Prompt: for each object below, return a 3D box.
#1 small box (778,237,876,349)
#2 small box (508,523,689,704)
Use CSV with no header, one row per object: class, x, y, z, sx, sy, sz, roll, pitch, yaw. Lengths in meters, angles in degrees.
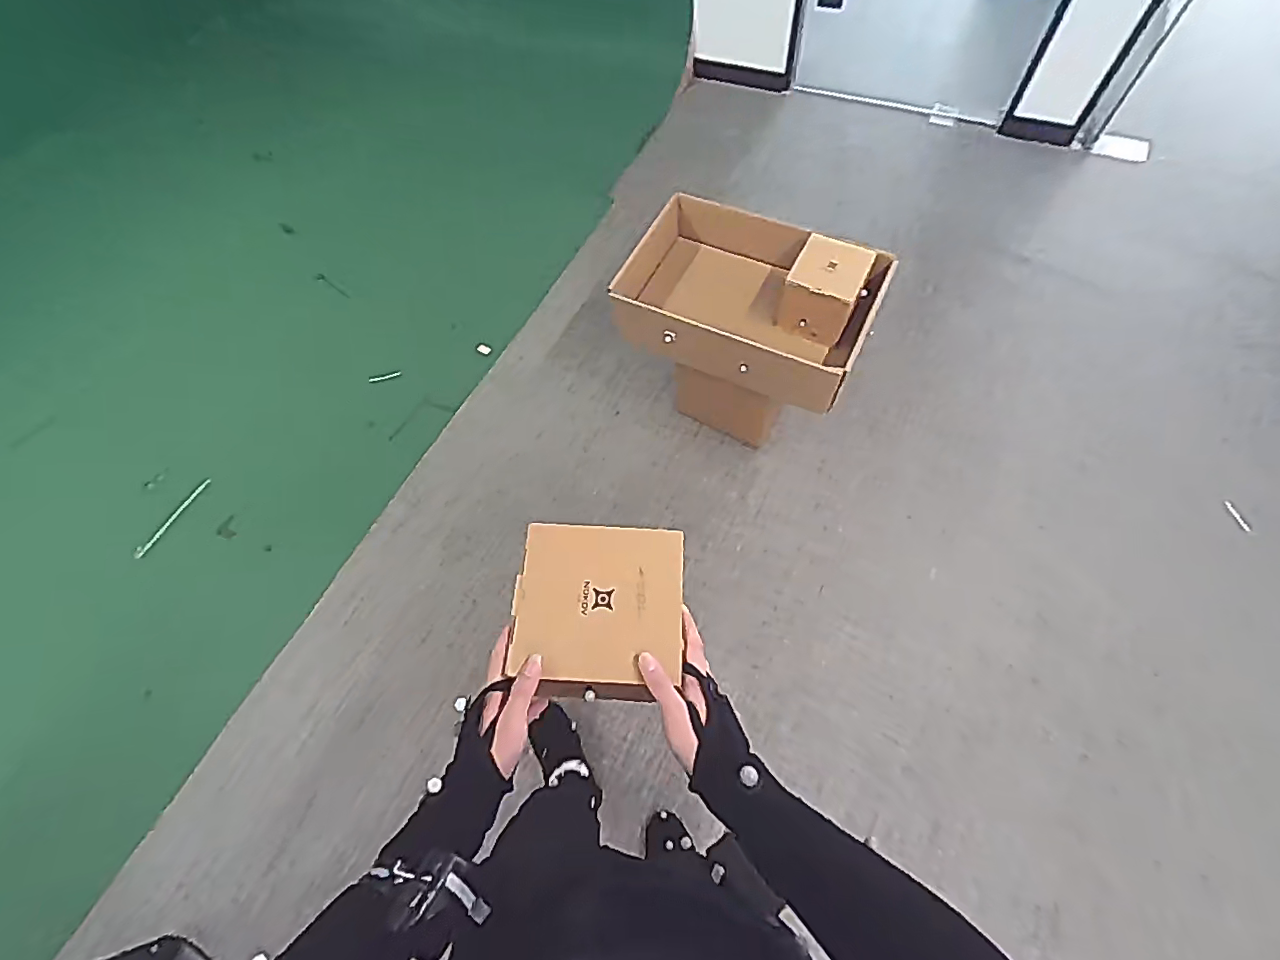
small box,0.461,-0.466,1.360,0.168,0.176,0.179,25,71,15
small box,-0.039,0.163,0.635,0.179,0.176,0.168,4,62,1
